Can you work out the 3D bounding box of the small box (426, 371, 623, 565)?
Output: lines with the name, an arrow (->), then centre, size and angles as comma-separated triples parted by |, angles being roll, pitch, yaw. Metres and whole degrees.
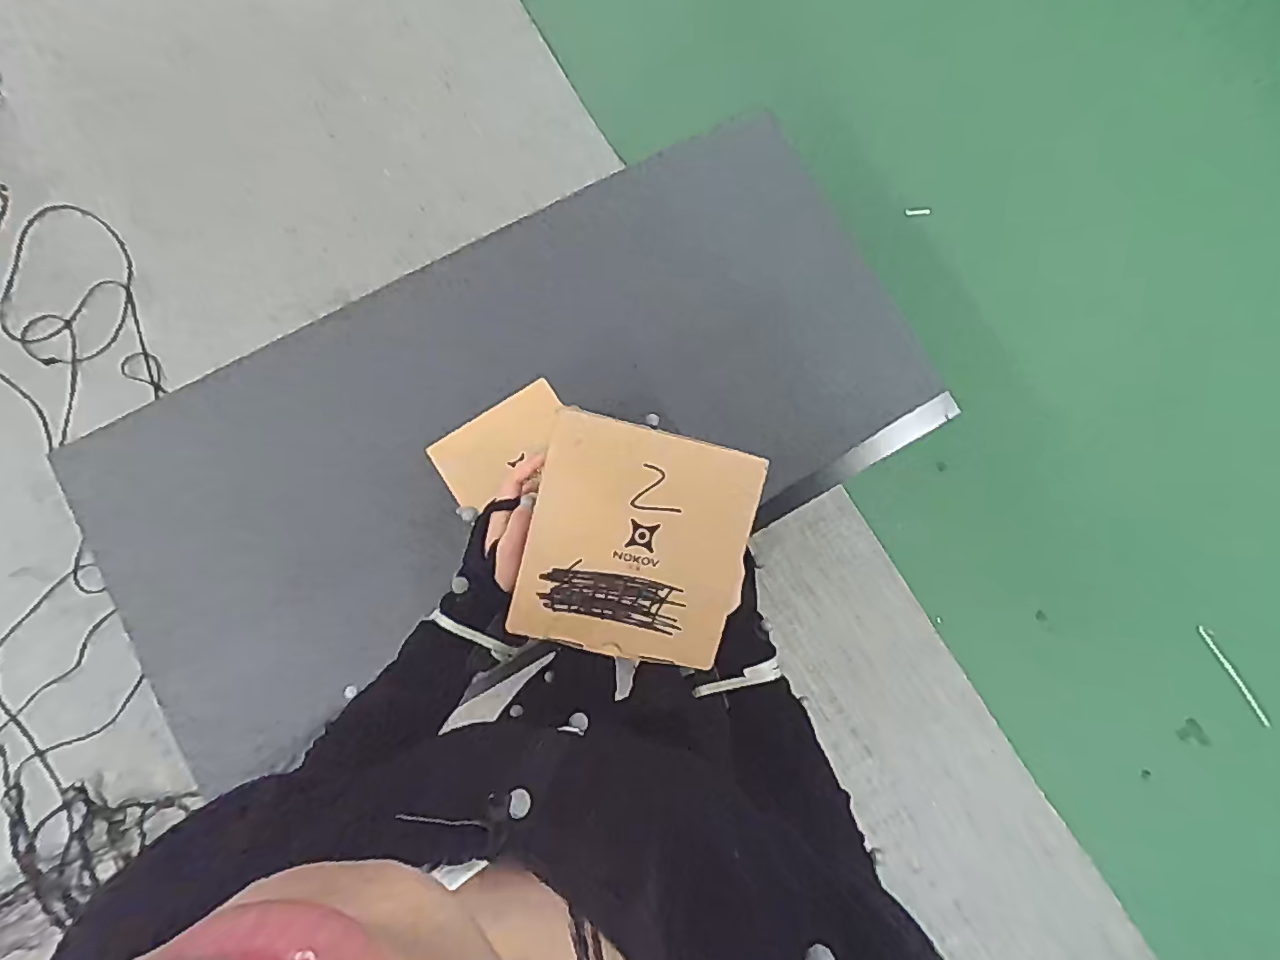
small box -> -0.137, -0.004, 0.698 | 0.168, 0.176, 0.179 | -33, 85, -6
